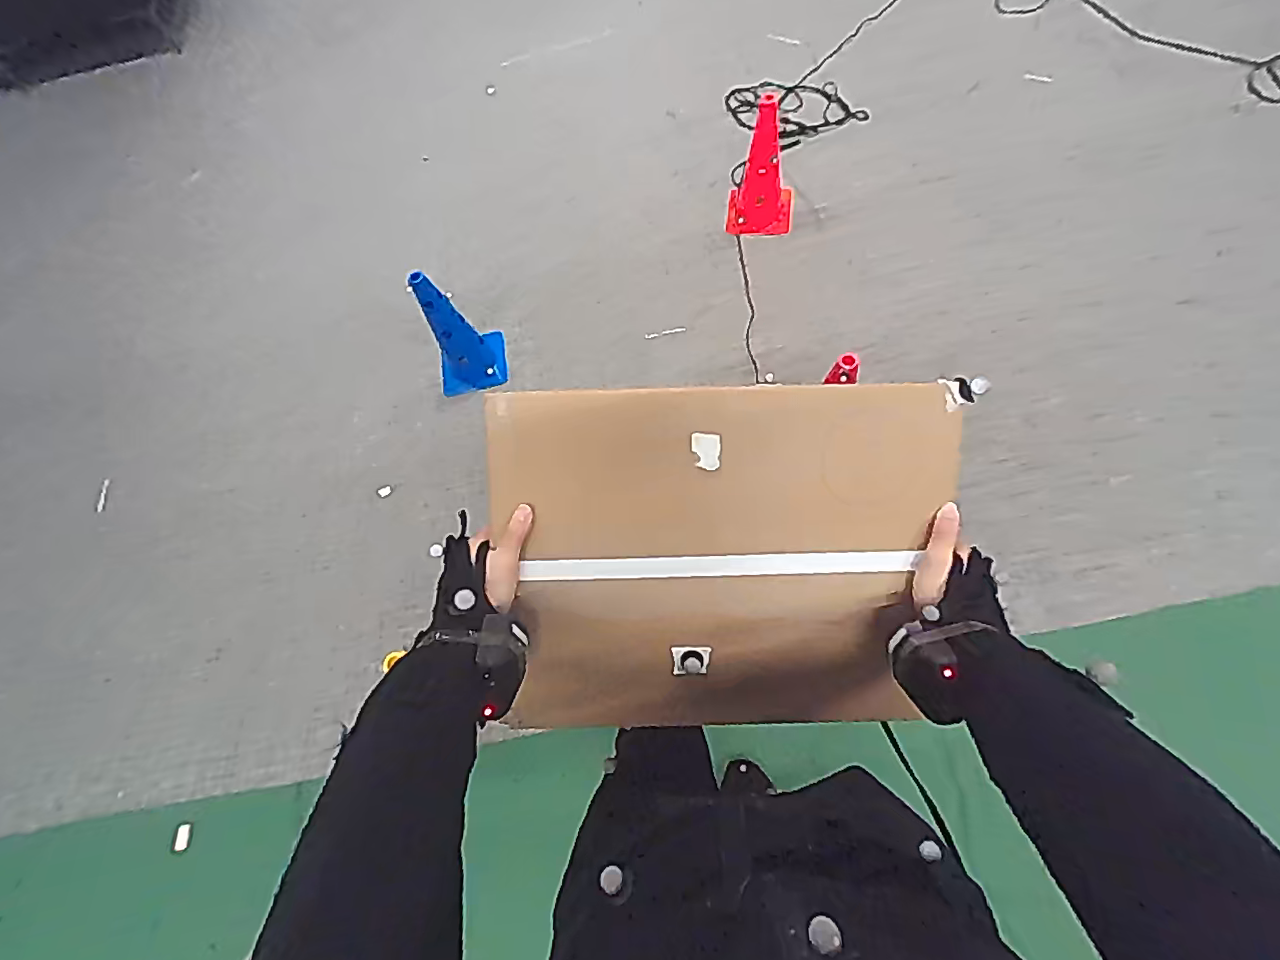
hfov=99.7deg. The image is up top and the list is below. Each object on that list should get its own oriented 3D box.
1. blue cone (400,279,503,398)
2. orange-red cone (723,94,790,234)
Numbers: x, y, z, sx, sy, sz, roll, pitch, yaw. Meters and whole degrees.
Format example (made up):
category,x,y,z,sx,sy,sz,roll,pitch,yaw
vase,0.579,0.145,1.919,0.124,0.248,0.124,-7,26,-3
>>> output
category,x,y,z,sx,sy,sz,roll,pitch,yaw
blue cone,-0.535,-0.411,1.494,0.192,0.380,0.193,-12,65,4
orange-red cone,0.352,-0.926,1.567,0.199,0.360,0.198,6,68,10
